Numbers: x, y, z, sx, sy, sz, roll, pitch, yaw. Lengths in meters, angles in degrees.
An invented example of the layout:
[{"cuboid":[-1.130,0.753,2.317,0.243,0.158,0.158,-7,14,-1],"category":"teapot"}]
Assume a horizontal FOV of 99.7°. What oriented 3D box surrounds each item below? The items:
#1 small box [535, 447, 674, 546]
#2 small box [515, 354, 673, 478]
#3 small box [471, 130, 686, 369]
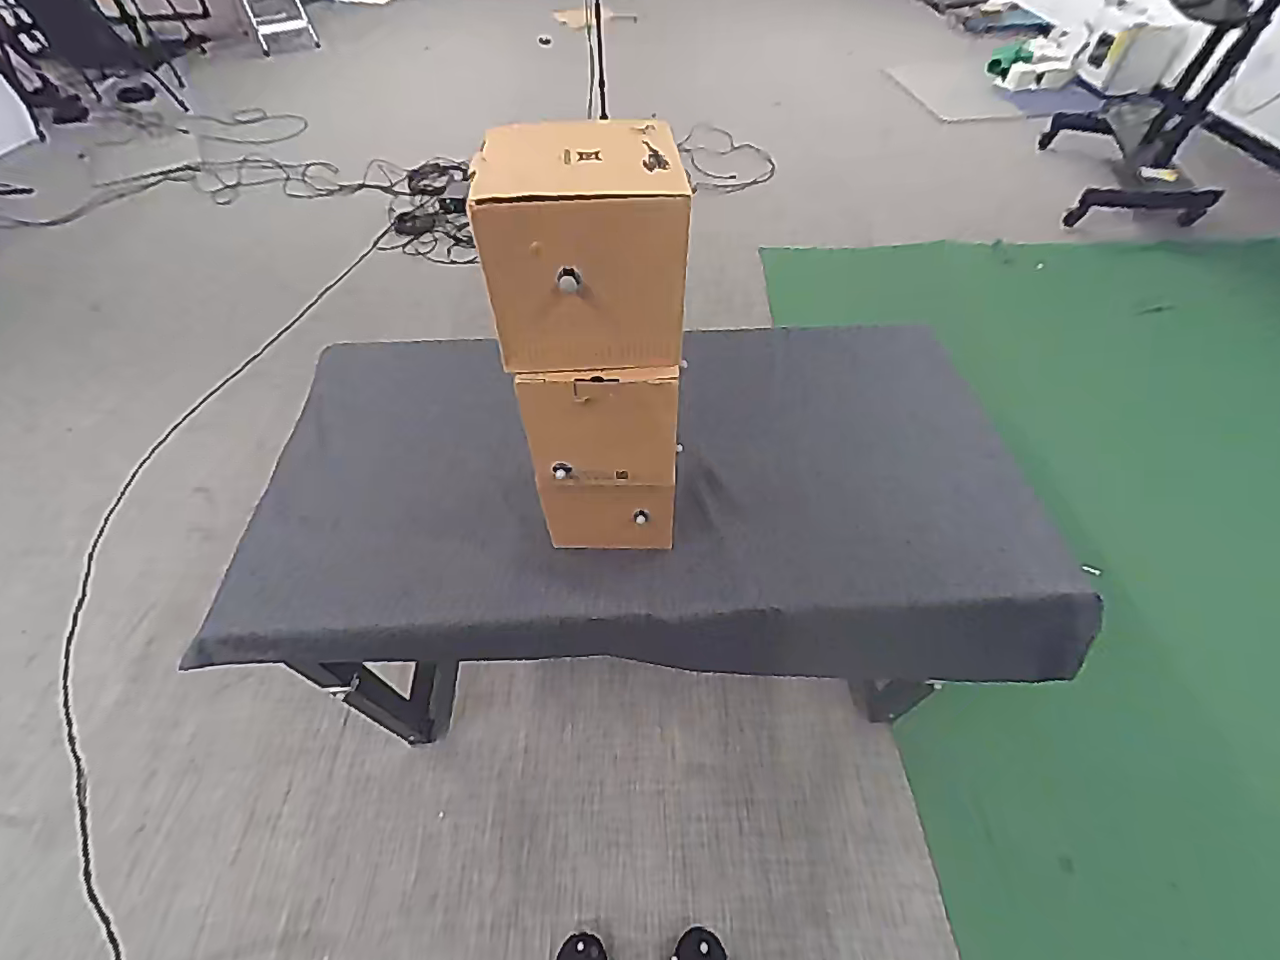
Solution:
[{"cuboid":[-0.042,-0.016,0.788,0.179,0.176,0.168,-1,51,2],"category":"small box"},{"cuboid":[-0.046,-0.114,0.657,0.168,0.176,0.179,-2,52,-1],"category":"small box"},{"cuboid":[-0.056,-0.226,0.541,0.179,0.176,0.168,-5,49,-5],"category":"small box"}]
